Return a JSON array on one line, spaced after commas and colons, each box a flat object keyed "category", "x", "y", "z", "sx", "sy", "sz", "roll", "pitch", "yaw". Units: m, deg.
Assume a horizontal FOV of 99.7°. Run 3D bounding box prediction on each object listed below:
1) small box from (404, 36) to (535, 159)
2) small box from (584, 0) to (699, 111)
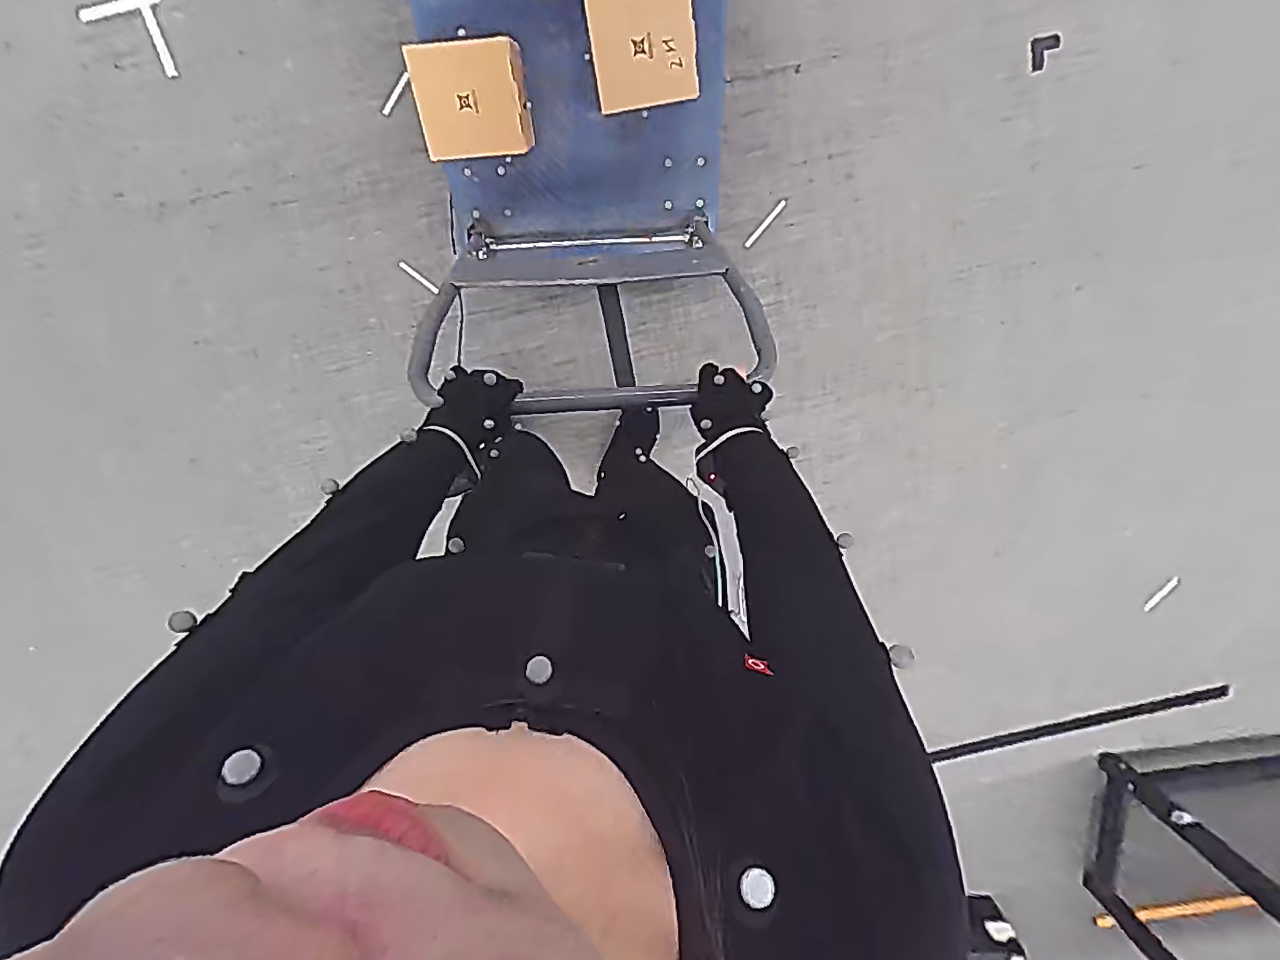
[{"category": "small box", "x": -0.300, "y": -0.696, "z": 0.992, "sx": 0.179, "sy": 0.176, "sz": 0.168, "roll": -7, "pitch": 125, "yaw": -1}, {"category": "small box", "x": 0.003, "y": -0.768, "z": 0.962, "sx": 0.179, "sy": 0.176, "sz": 0.168, "roll": -9, "pitch": 126, "yaw": 2}]
